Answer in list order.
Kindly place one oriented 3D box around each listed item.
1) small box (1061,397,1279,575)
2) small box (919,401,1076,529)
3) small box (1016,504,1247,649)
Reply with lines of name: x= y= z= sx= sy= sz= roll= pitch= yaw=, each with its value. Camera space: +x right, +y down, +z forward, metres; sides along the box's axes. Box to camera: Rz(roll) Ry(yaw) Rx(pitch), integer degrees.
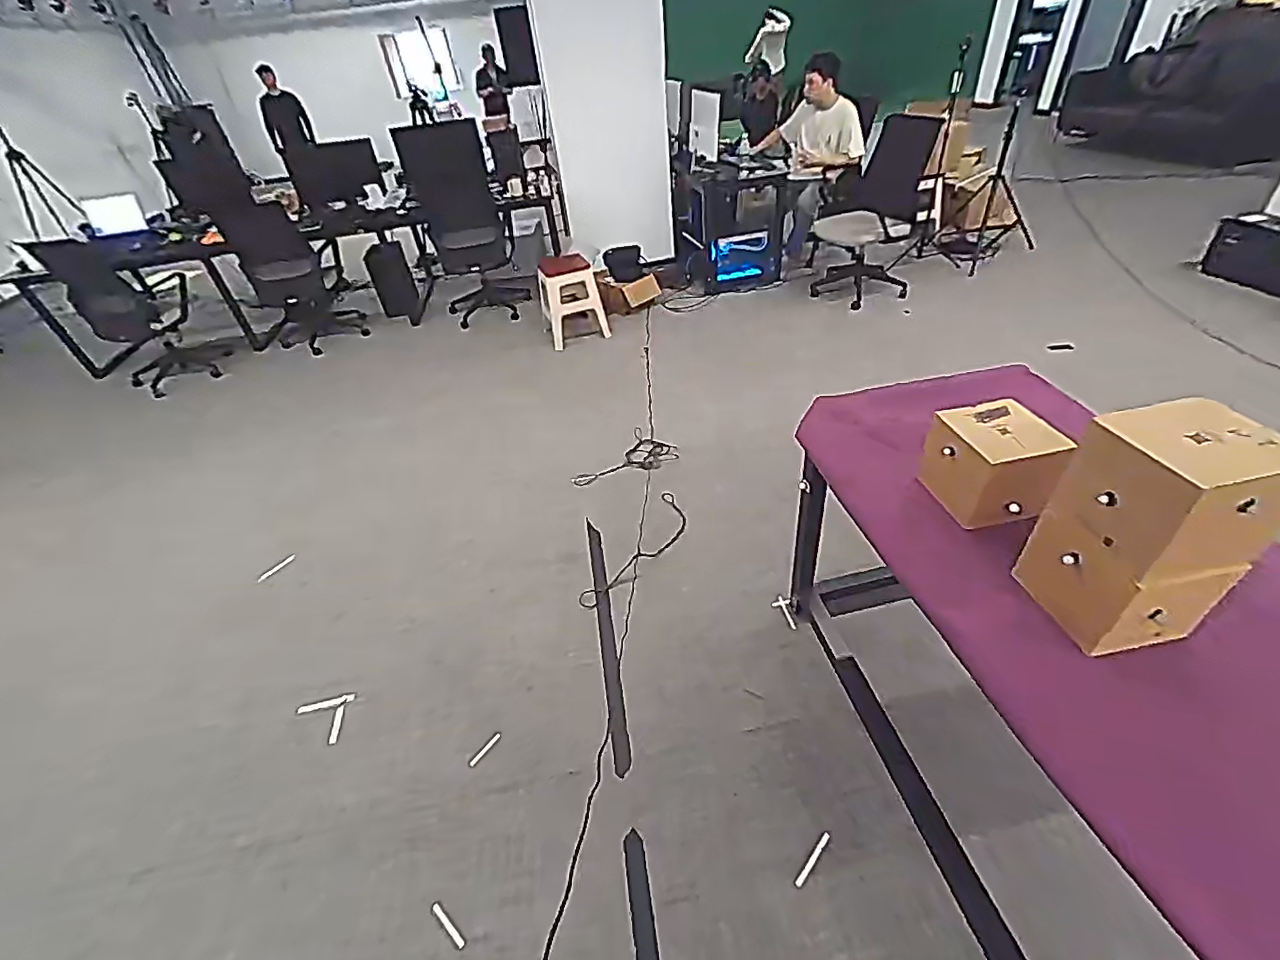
small box: x=0.730 y=0.010 z=0.745 sx=0.179 sy=0.176 sz=0.168 roll=-10 pitch=39 yaw=-4
small box: x=0.683 y=-0.030 z=1.062 sx=0.168 sy=0.176 sz=0.179 roll=-11 pitch=40 yaw=-4
small box: x=0.741 y=0.143 z=0.842 sx=0.168 sy=0.176 sz=0.179 roll=-11 pitch=39 yaw=-4
